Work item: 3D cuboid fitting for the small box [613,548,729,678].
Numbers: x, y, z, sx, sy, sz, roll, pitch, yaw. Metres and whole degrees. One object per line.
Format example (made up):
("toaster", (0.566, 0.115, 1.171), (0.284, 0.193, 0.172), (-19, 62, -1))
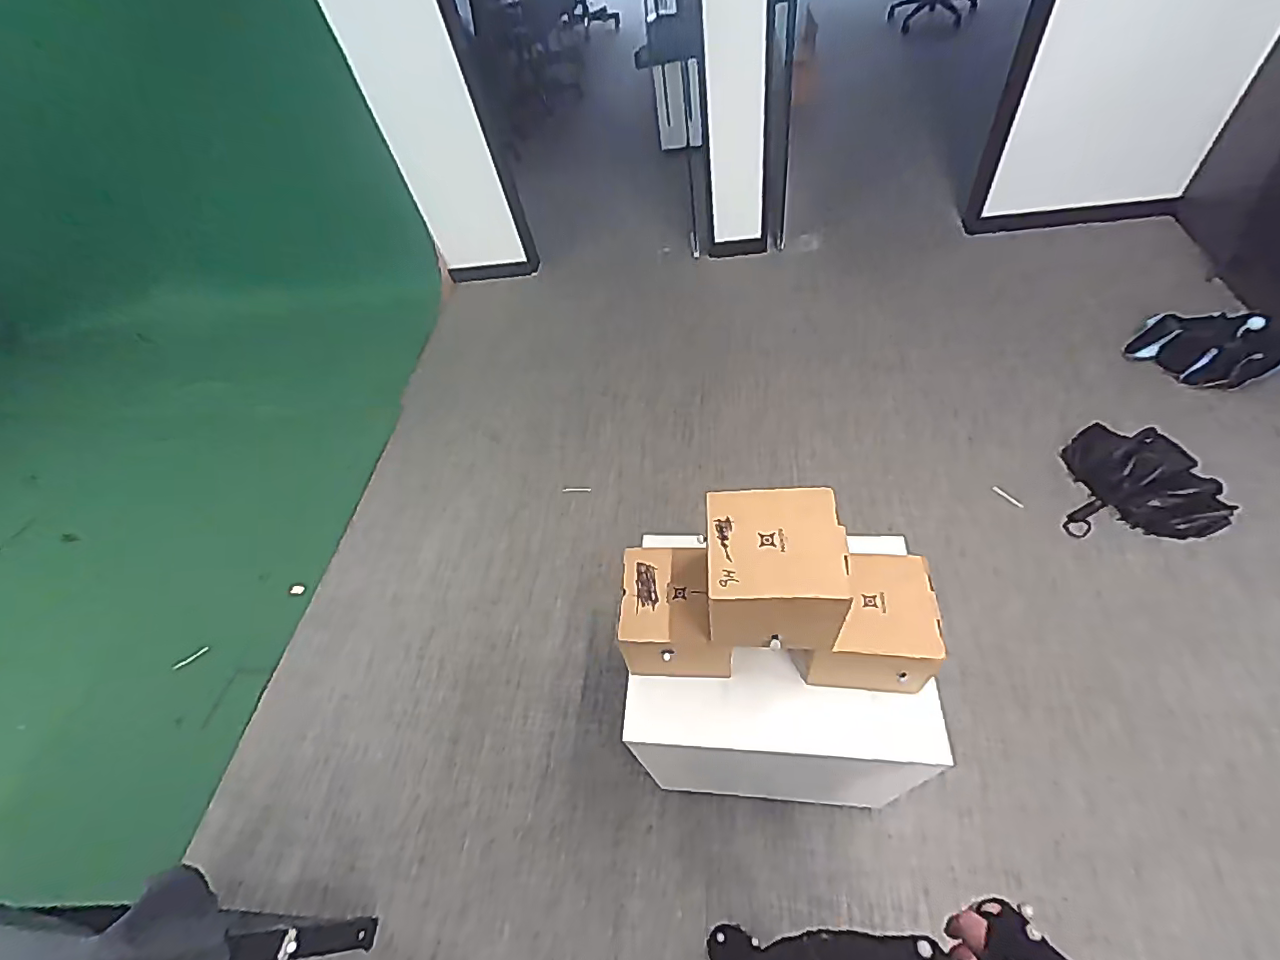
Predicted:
("small box", (0.061, 0.228, 0.917), (0.179, 0.176, 0.168), (-1, 53, 8))

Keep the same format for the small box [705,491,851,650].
("small box", (0.181, 0.130, 0.764), (0.179, 0.176, 0.168), (-1, 52, 8))

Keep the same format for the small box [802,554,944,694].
("small box", (0.354, 0.231, 0.863), (0.179, 0.176, 0.168), (-1, 52, 12))
